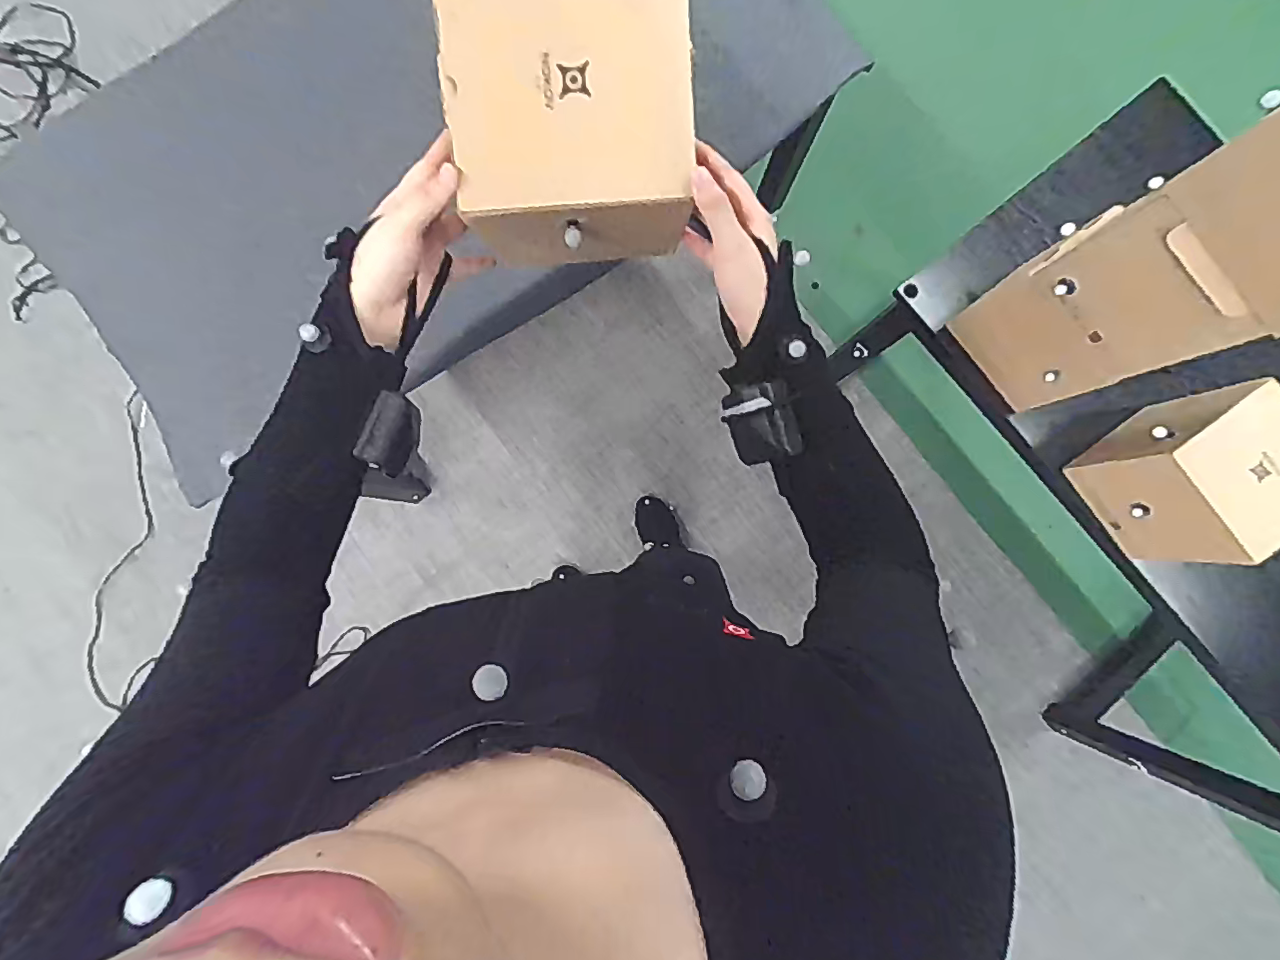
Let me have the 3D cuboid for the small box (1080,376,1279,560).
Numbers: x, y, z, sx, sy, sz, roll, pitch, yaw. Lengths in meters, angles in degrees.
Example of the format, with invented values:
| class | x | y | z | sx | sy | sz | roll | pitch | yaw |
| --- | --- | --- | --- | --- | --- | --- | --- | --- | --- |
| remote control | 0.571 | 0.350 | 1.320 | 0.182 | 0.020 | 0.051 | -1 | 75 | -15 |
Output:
| class | x | y | z | sx | sy | sz | roll | pitch | yaw |
| --- | --- | --- | --- | --- | --- | --- | --- | --- | --- |
| small box | 0.756 | -0.008 | 0.733 | 0.179 | 0.176 | 0.168 | -34 | 87 | -5 |

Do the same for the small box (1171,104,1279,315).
| class | x | y | z | sx | sy | sz | roll | pitch | yaw |
| --- | --- | --- | --- | --- | --- | --- | --- | --- | --- |
| small box | 0.602 | -0.252 | 0.423 | 0.168 | 0.176 | 0.179 | -34 | 87 | -6 |

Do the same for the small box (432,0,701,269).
| class | x | y | z | sx | sy | sz | roll | pitch | yaw |
| --- | --- | --- | --- | --- | --- | --- | --- | --- | --- |
| small box | -0.049 | -0.282 | 0.450 | 0.179 | 0.176 | 0.168 | -4 | 100 | 1 |

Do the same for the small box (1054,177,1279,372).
| class | x | y | z | sx | sy | sz | roll | pitch | yaw |
| --- | --- | --- | --- | --- | --- | --- | --- | --- | --- |
| small box | 0.603 | -0.243 | 0.585 | 0.179 | 0.176 | 0.168 | -35 | 88 | -5 |
